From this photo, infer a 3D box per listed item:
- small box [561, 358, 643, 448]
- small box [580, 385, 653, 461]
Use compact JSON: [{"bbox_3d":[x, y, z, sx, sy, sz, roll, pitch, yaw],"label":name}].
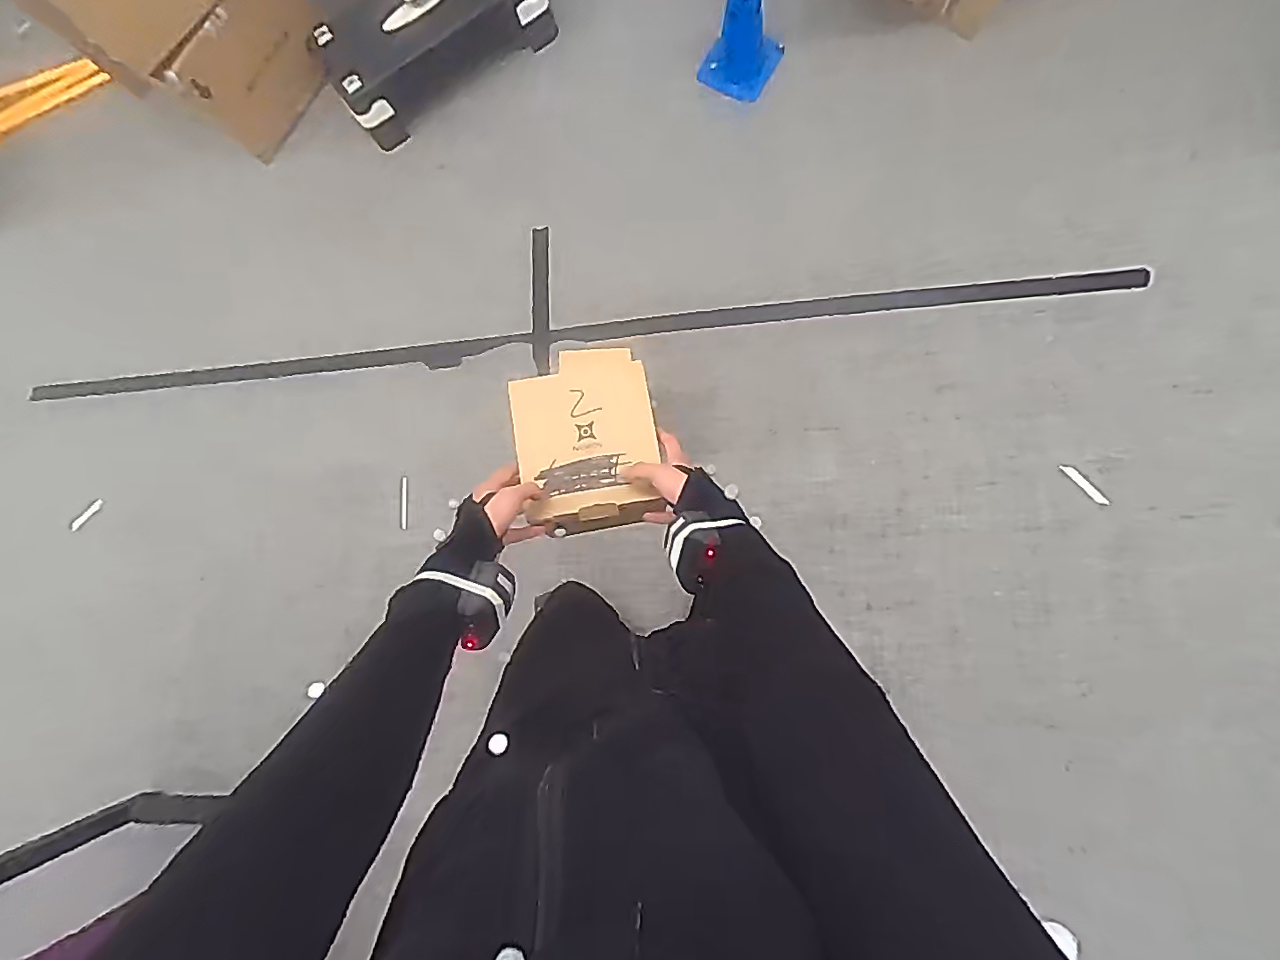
[{"bbox_3d":[-0.085,-0.177,1.281,0.168,0.176,0.179,-1,84,7],"label":"small box"},{"bbox_3d":[-0.060,-0.147,1.440,0.179,0.176,0.168,-5,83,8],"label":"small box"}]
